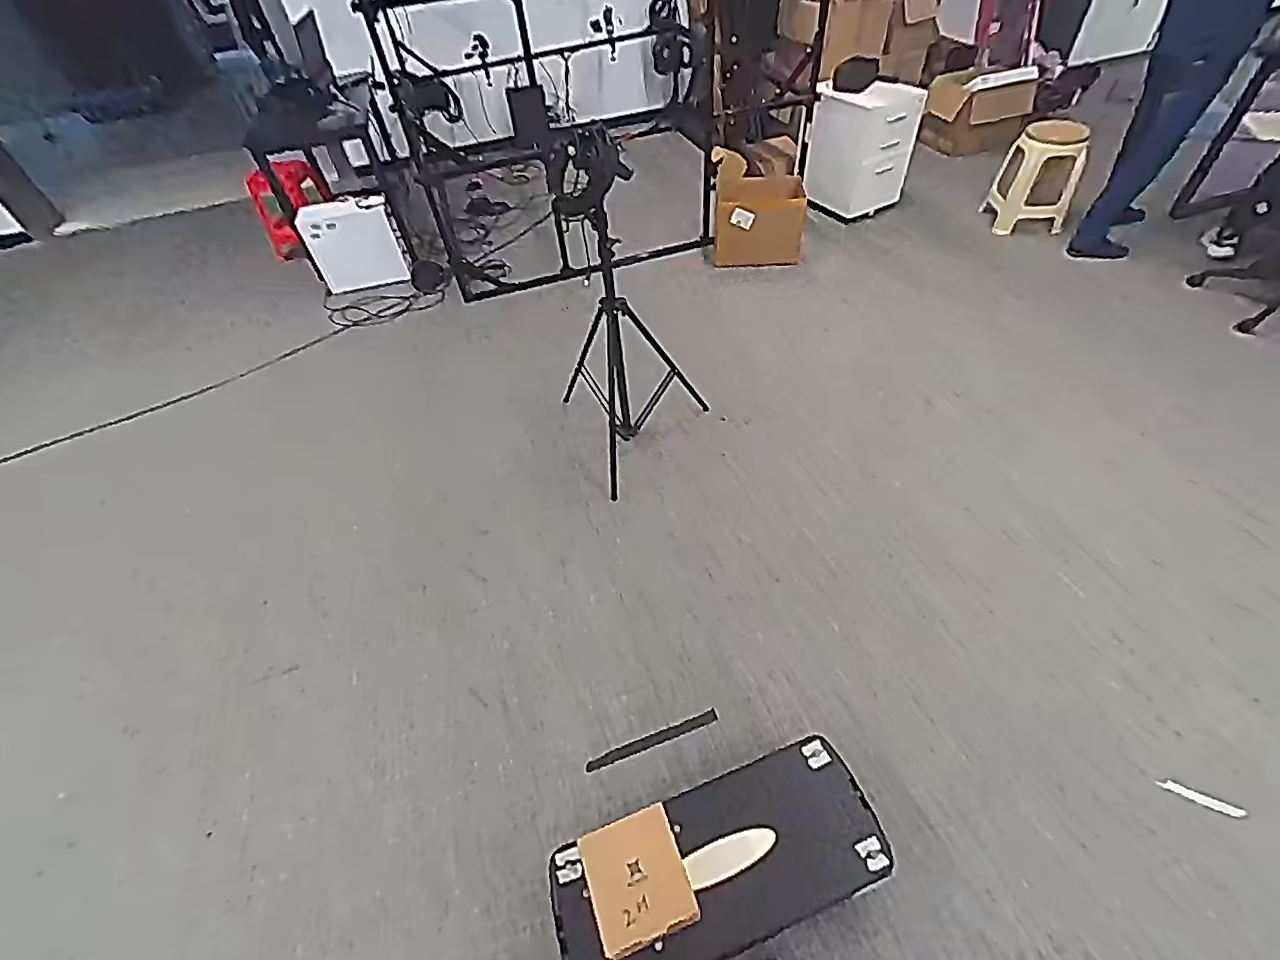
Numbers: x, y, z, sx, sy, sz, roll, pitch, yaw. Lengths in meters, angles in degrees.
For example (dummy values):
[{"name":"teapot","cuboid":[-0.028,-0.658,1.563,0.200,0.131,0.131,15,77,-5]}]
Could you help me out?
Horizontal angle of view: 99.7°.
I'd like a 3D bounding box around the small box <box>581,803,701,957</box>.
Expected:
[{"name":"small box","cuboid":[0.000,0.731,0.984,0.168,0.176,0.179,-18,49,-10]}]
